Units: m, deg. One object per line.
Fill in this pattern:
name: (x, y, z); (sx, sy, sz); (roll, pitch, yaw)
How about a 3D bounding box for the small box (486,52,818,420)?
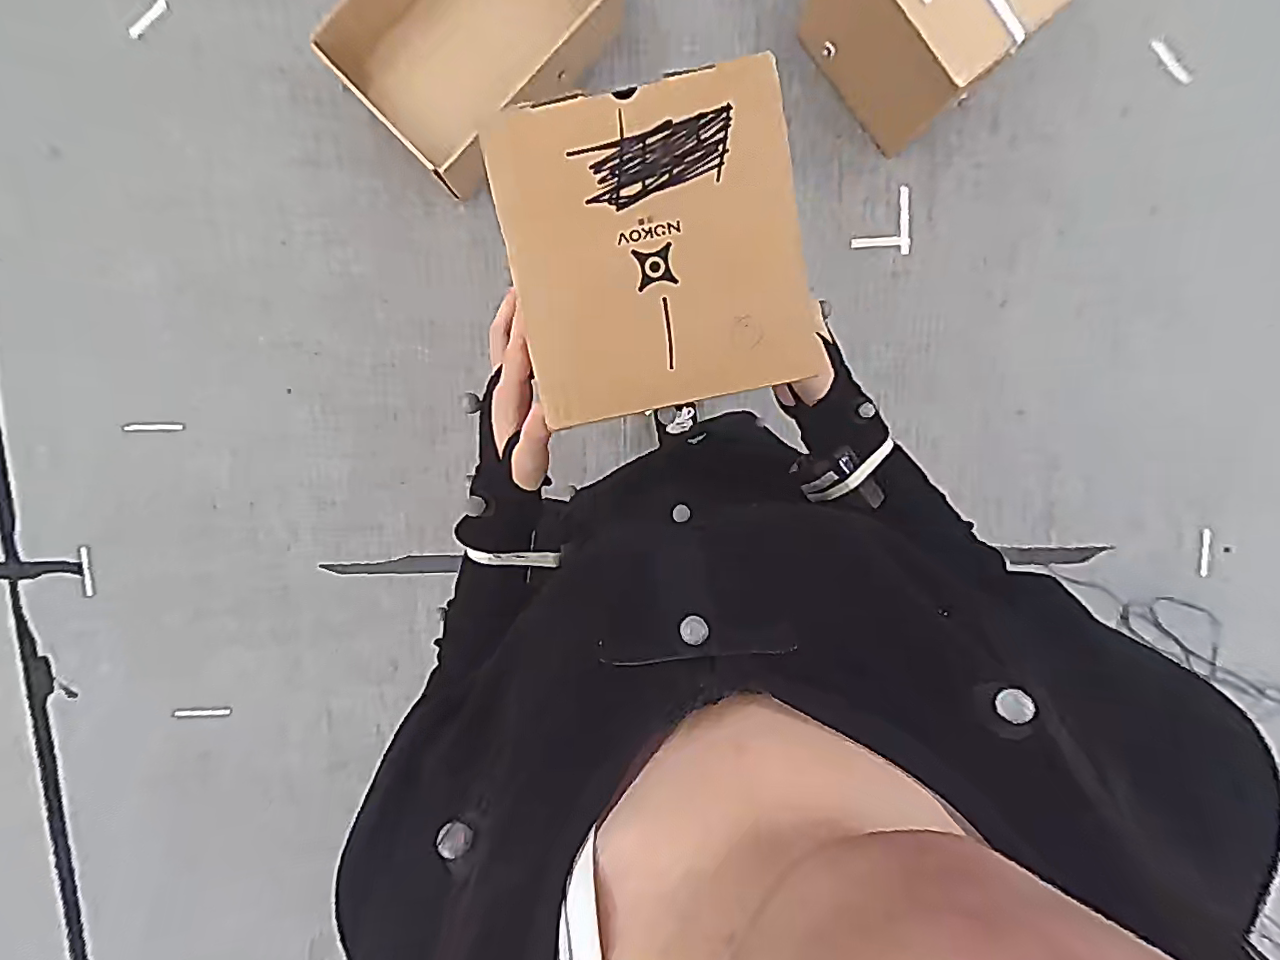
small box: (0.010, -0.146, 0.386); (0.168, 0.176, 0.179); (-11, 100, 3)
